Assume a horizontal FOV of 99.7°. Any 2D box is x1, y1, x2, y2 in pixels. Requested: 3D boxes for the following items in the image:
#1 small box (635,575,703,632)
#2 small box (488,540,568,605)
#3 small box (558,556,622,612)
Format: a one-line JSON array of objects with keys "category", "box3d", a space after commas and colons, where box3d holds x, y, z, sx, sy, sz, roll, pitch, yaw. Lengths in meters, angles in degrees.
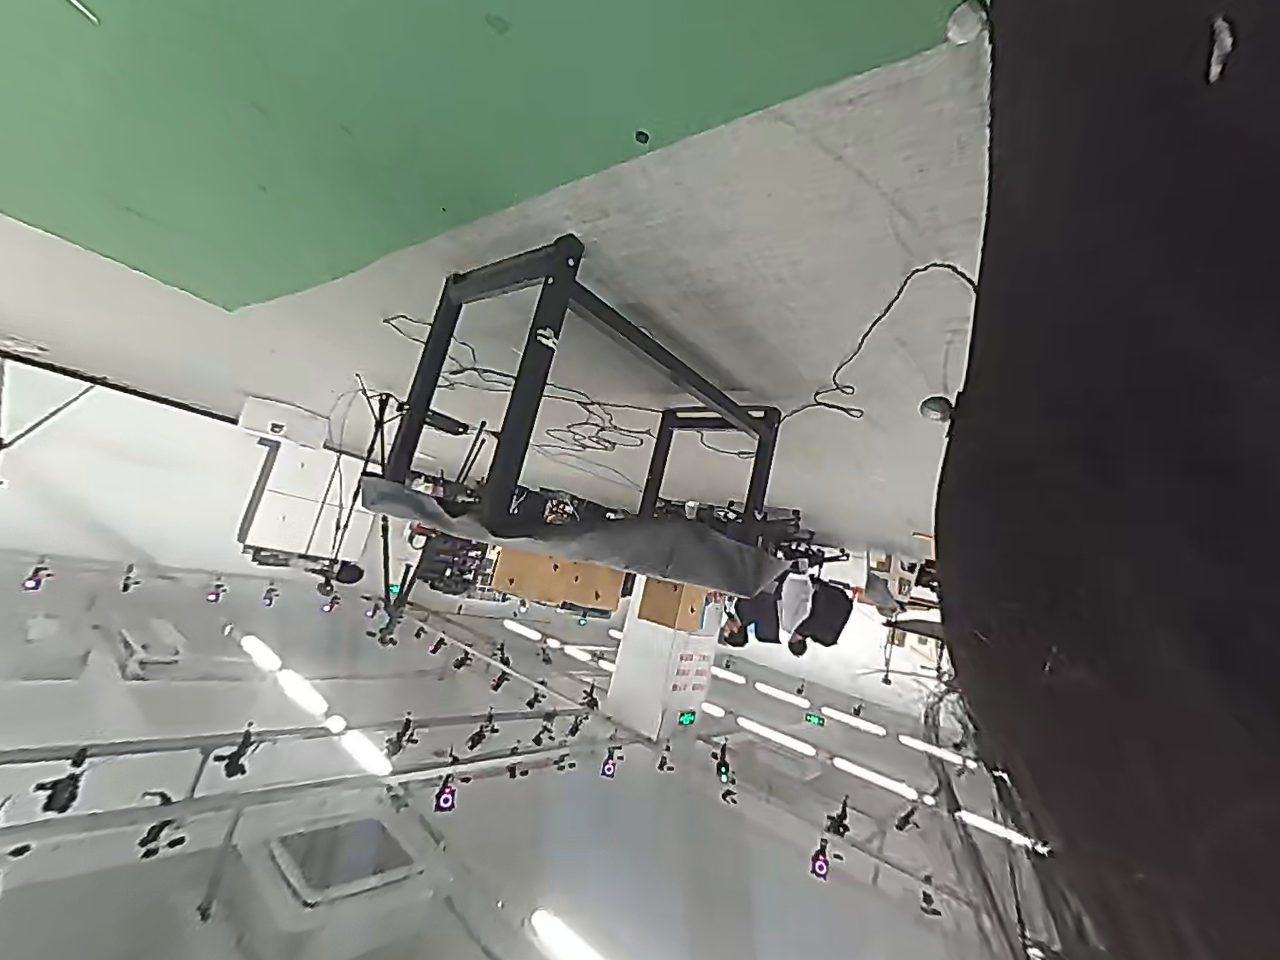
[{"category": "small box", "box3d": [0.110, 0.451, 1.981, 0.168, 0.176, 0.179, 7, 169, 37]}, {"category": "small box", "box3d": [-0.359, 0.298, 1.759, 0.179, 0.176, 0.168, 5, 167, 38]}, {"category": "small box", "box3d": [-0.194, 0.388, 2.028, 0.168, 0.176, 0.179, 5, 168, 40]}]
